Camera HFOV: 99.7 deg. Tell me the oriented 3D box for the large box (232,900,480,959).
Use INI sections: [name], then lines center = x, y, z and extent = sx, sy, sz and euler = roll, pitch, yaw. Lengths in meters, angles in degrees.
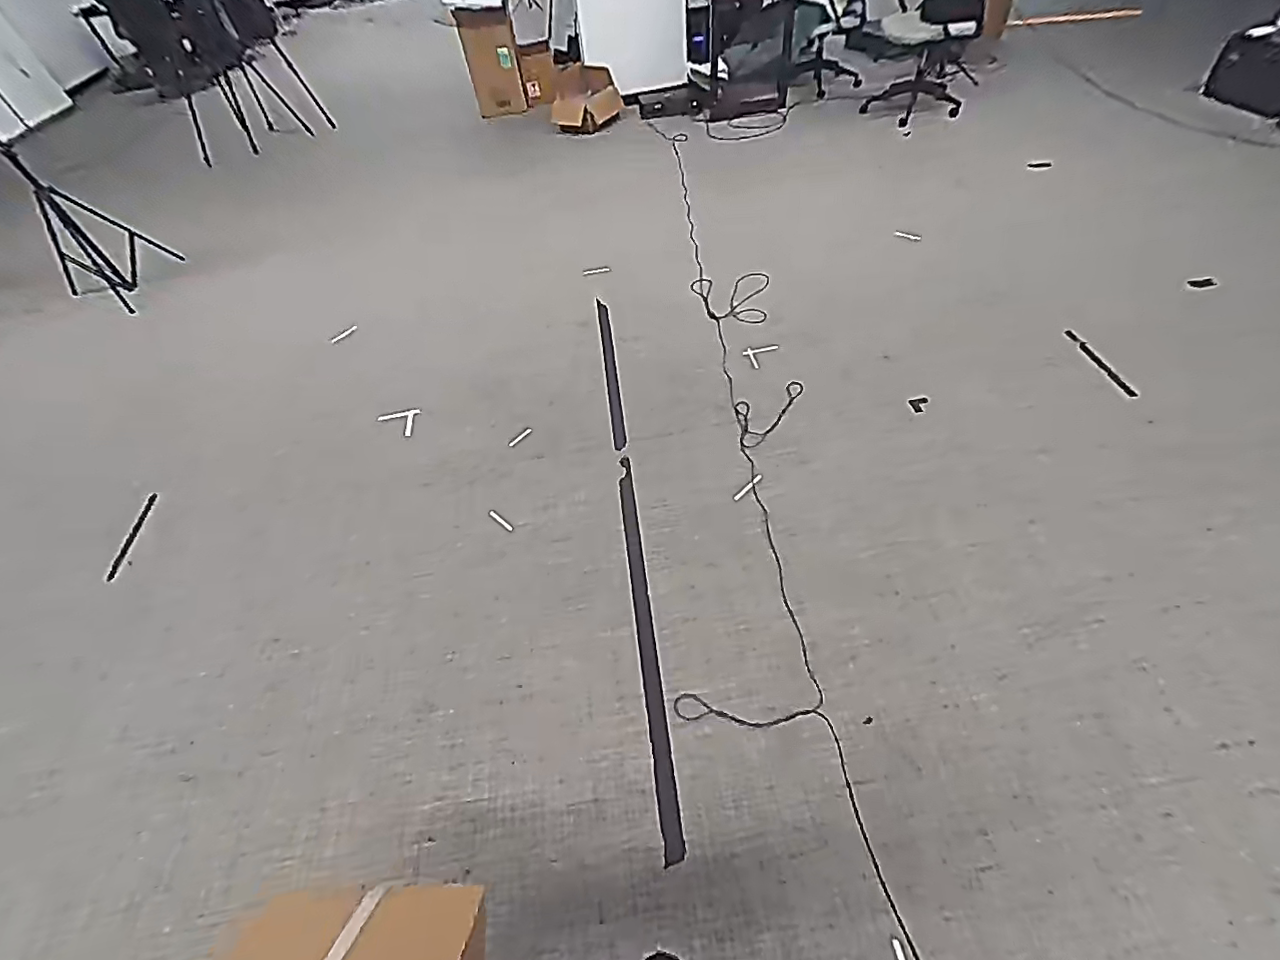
[large box]
center = -0.376, 0.772, 0.604
extent = 0.320, 0.408, 0.320
euler = -2, 86, -3
